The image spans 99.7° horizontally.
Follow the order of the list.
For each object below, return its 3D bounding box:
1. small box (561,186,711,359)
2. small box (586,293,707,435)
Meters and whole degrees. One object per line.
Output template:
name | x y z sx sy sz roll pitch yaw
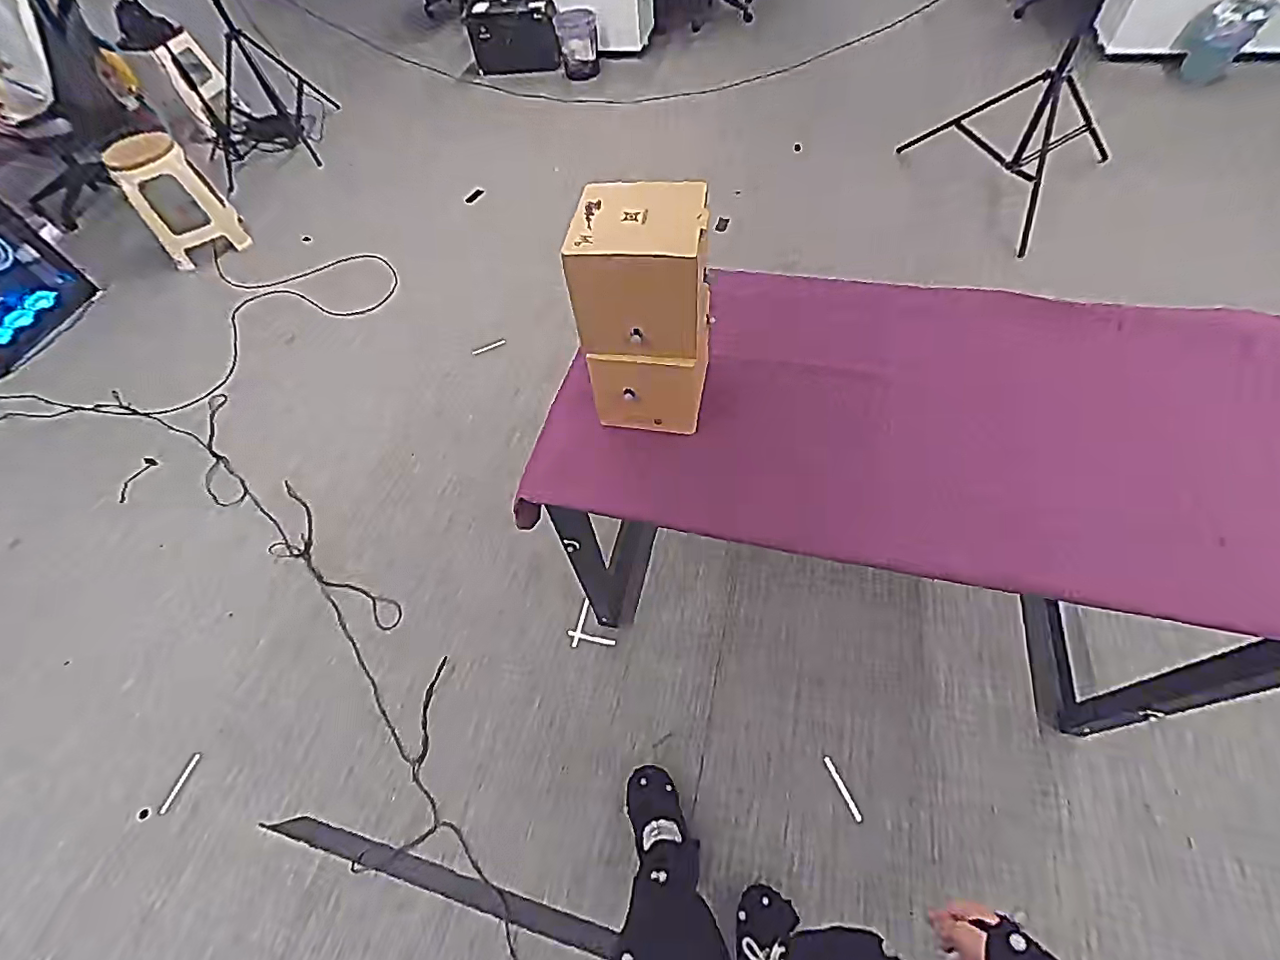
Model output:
small box | 0.003 -0.291 0.773 0.179 0.176 0.168 5 57 8
small box | 0.020 -0.195 0.905 0.168 0.176 0.179 7 57 10
